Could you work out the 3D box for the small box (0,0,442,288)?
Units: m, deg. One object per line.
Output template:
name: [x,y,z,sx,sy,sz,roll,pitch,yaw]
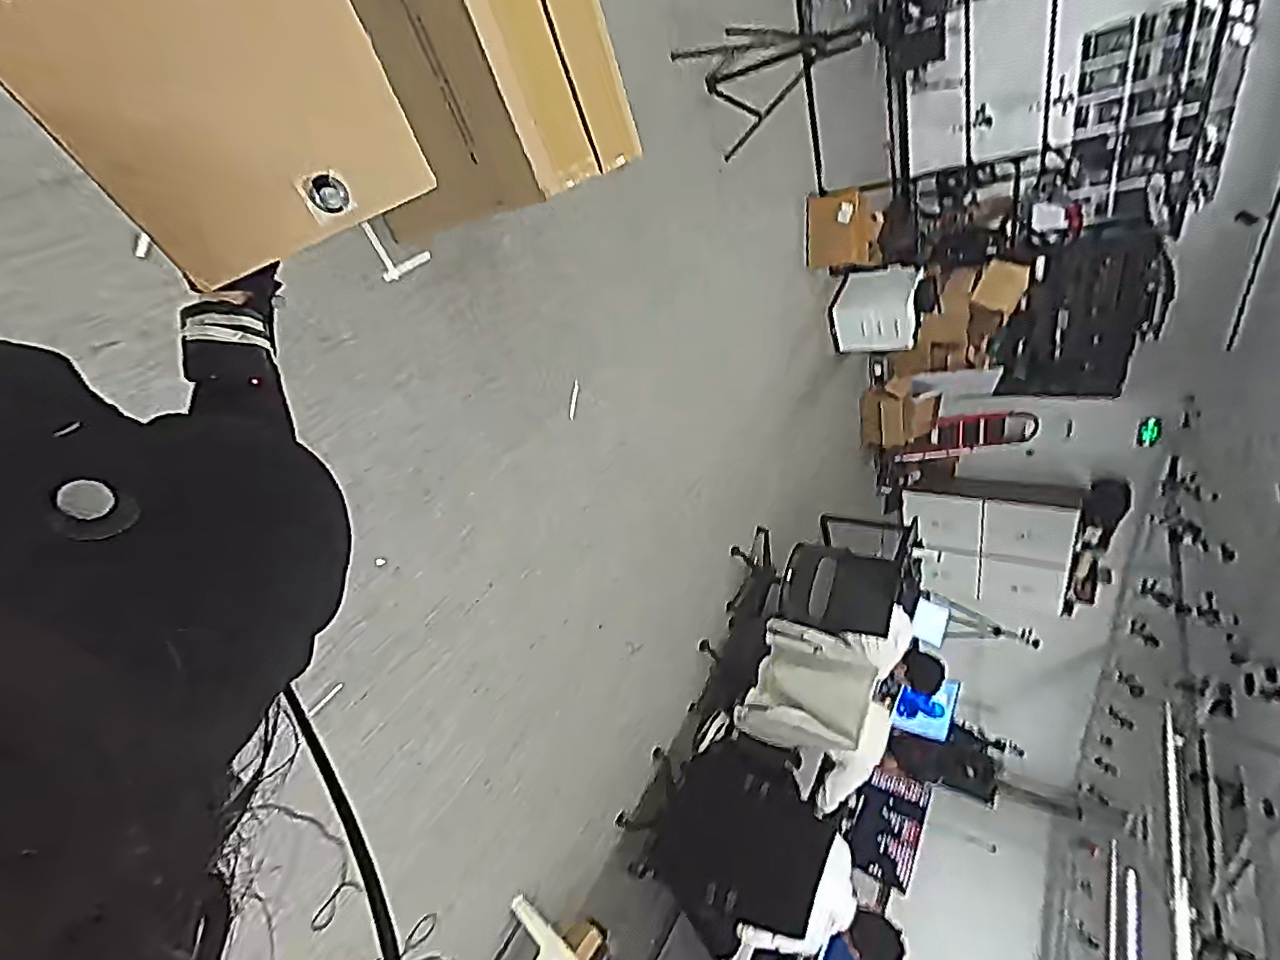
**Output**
small box: [-0.259,-0.263,0.342,0.168,0.179,0.176,-30,142,-9]
